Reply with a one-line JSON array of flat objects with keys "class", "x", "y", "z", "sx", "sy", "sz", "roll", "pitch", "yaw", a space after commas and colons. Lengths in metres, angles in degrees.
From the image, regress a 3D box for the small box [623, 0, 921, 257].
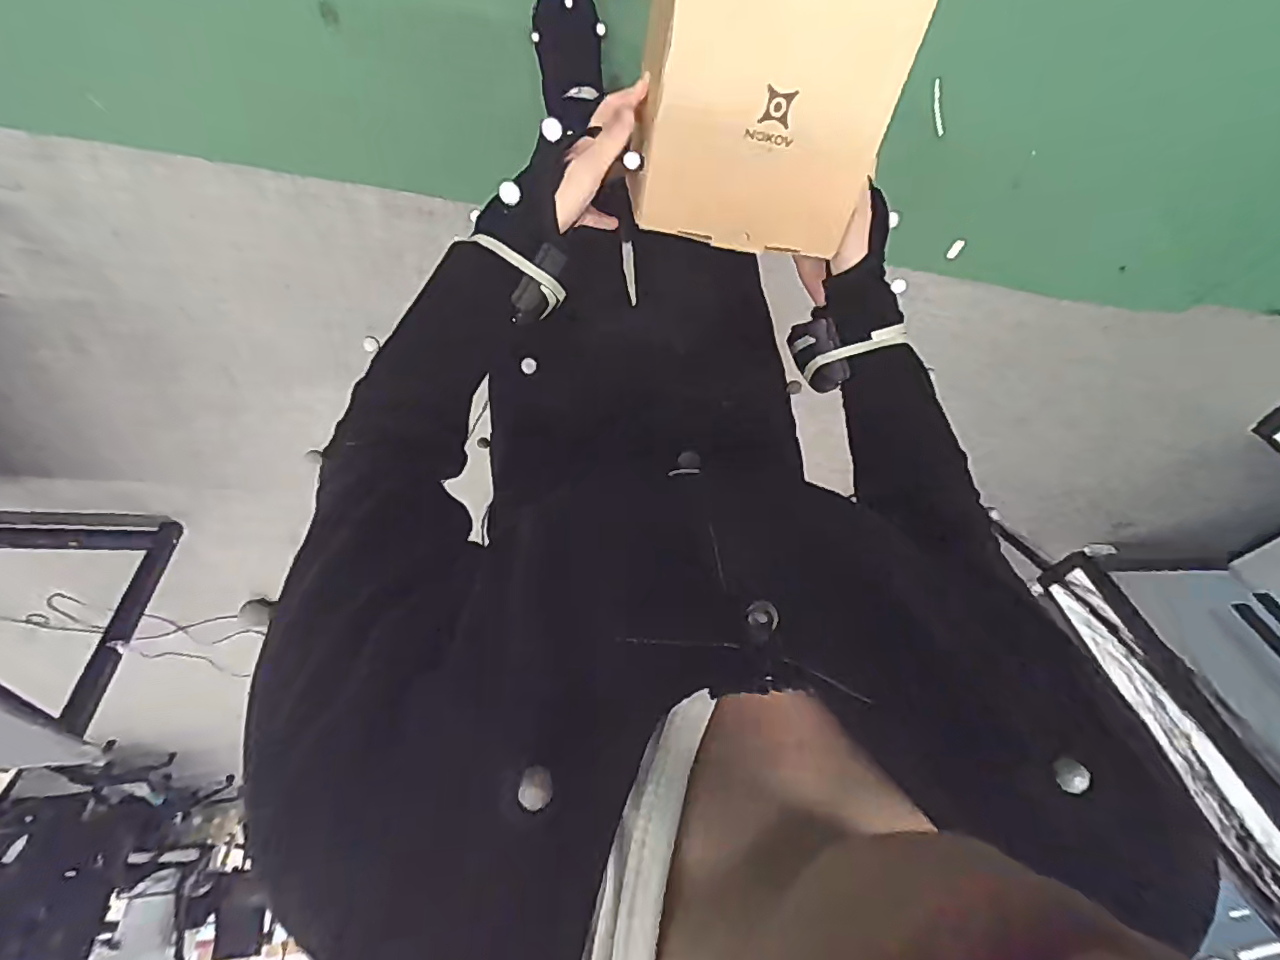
[{"class": "small box", "x": 0.080, "y": -0.308, "z": 0.440, "sx": 0.168, "sy": 0.176, "sz": 0.179, "roll": 4, "pitch": 131, "yaw": -10}]
